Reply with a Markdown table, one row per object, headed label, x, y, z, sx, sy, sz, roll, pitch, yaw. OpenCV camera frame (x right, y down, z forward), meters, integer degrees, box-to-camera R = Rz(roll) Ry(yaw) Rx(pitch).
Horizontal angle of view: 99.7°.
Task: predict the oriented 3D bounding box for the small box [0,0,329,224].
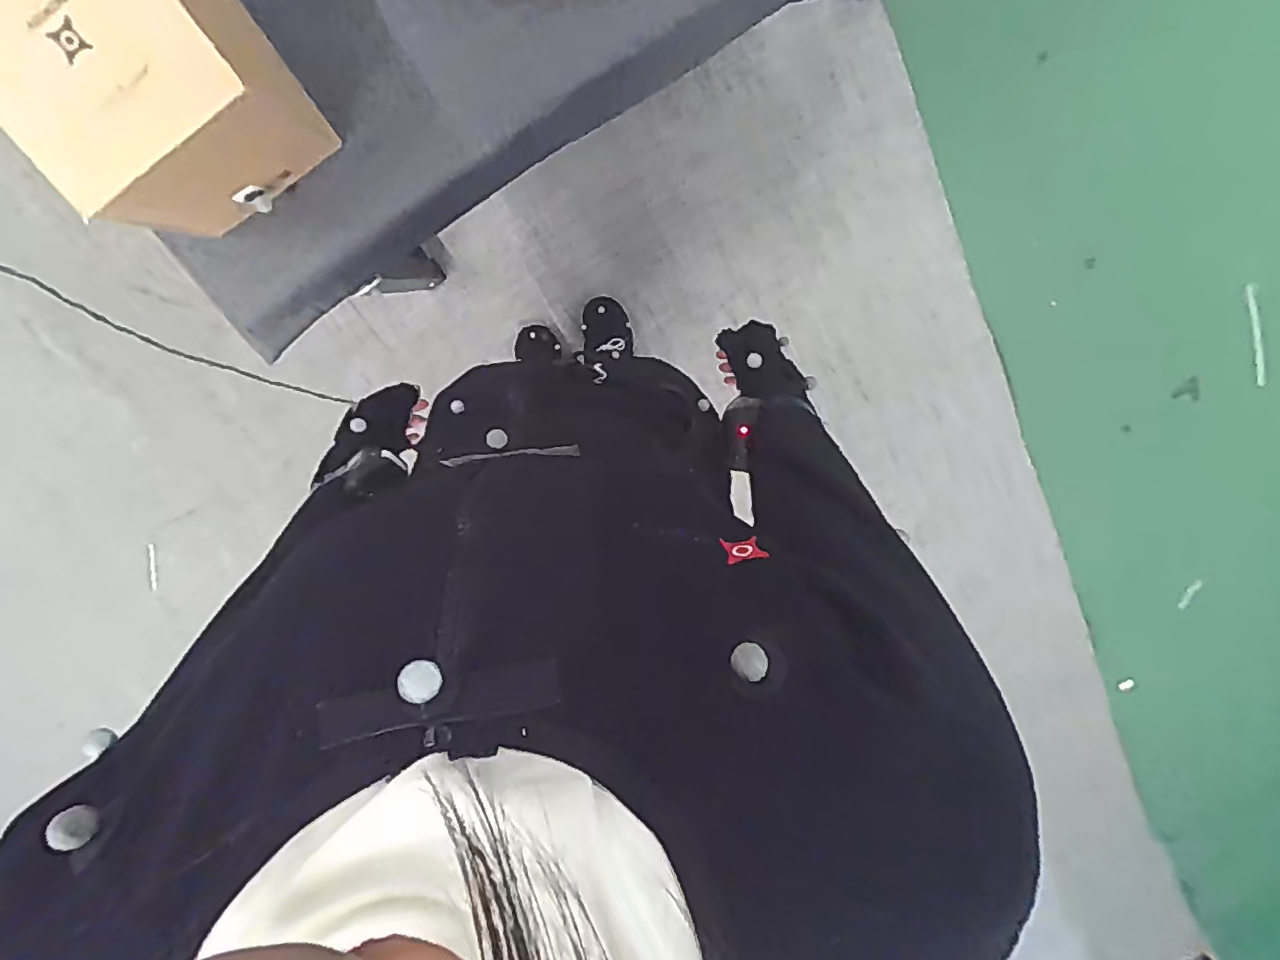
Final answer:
| label | x | y | z | sx | sy | sz | roll | pitch | yaw |
| --- | --- | --- | --- | --- | --- | --- | --- | --- | --- |
| small box | -0.401 | -0.332 | 0.431 | 0.168 | 0.176 | 0.179 | -29 | 109 | 8 |
